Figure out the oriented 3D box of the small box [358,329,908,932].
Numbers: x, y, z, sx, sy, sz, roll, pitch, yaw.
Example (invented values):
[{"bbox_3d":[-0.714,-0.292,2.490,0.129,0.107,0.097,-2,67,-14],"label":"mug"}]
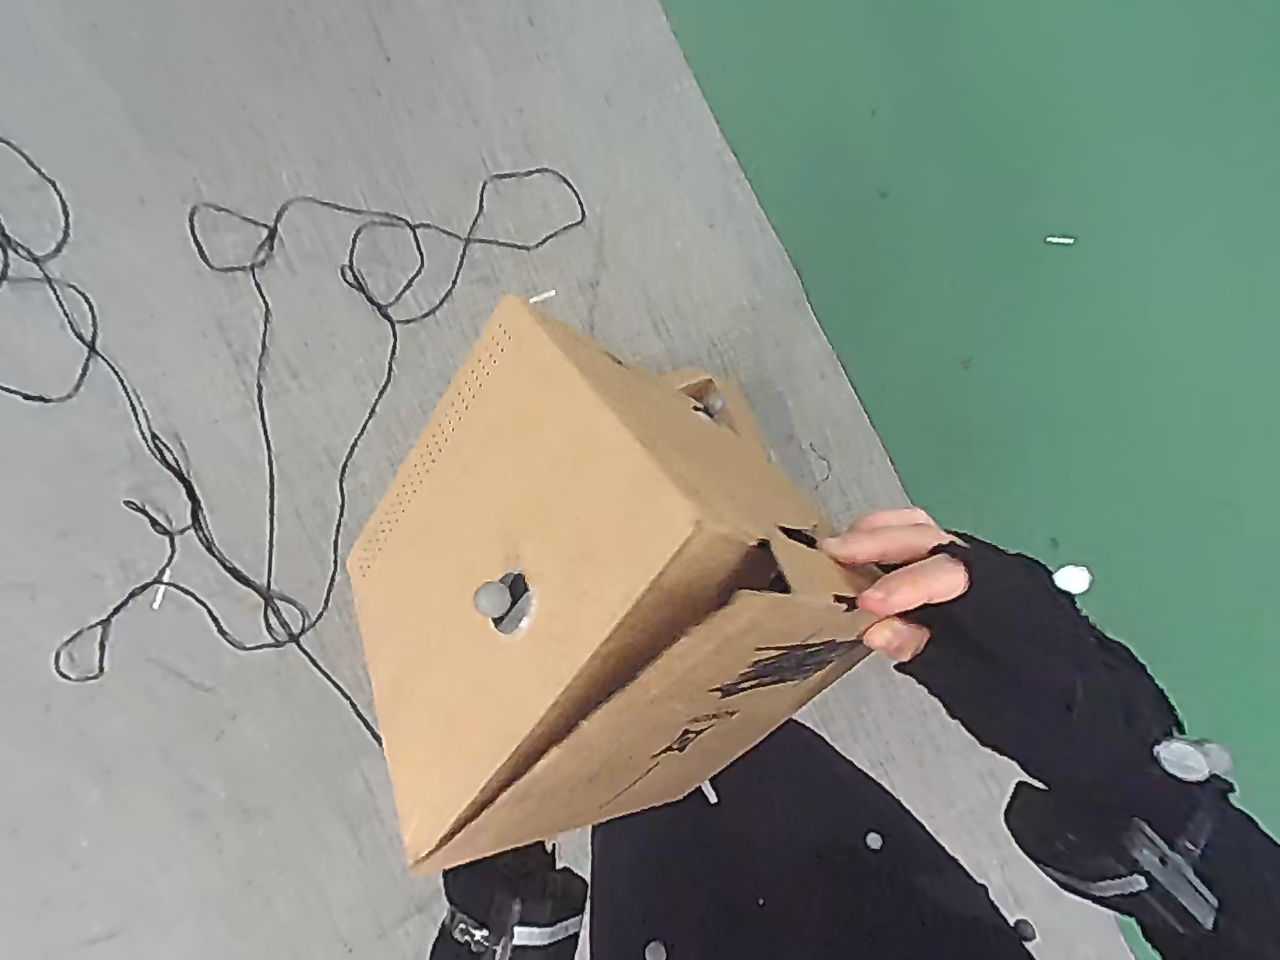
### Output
[{"bbox_3d":[-0.017,0.057,0.266,0.179,0.168,0.176,-52,48,17],"label":"small box"}]
